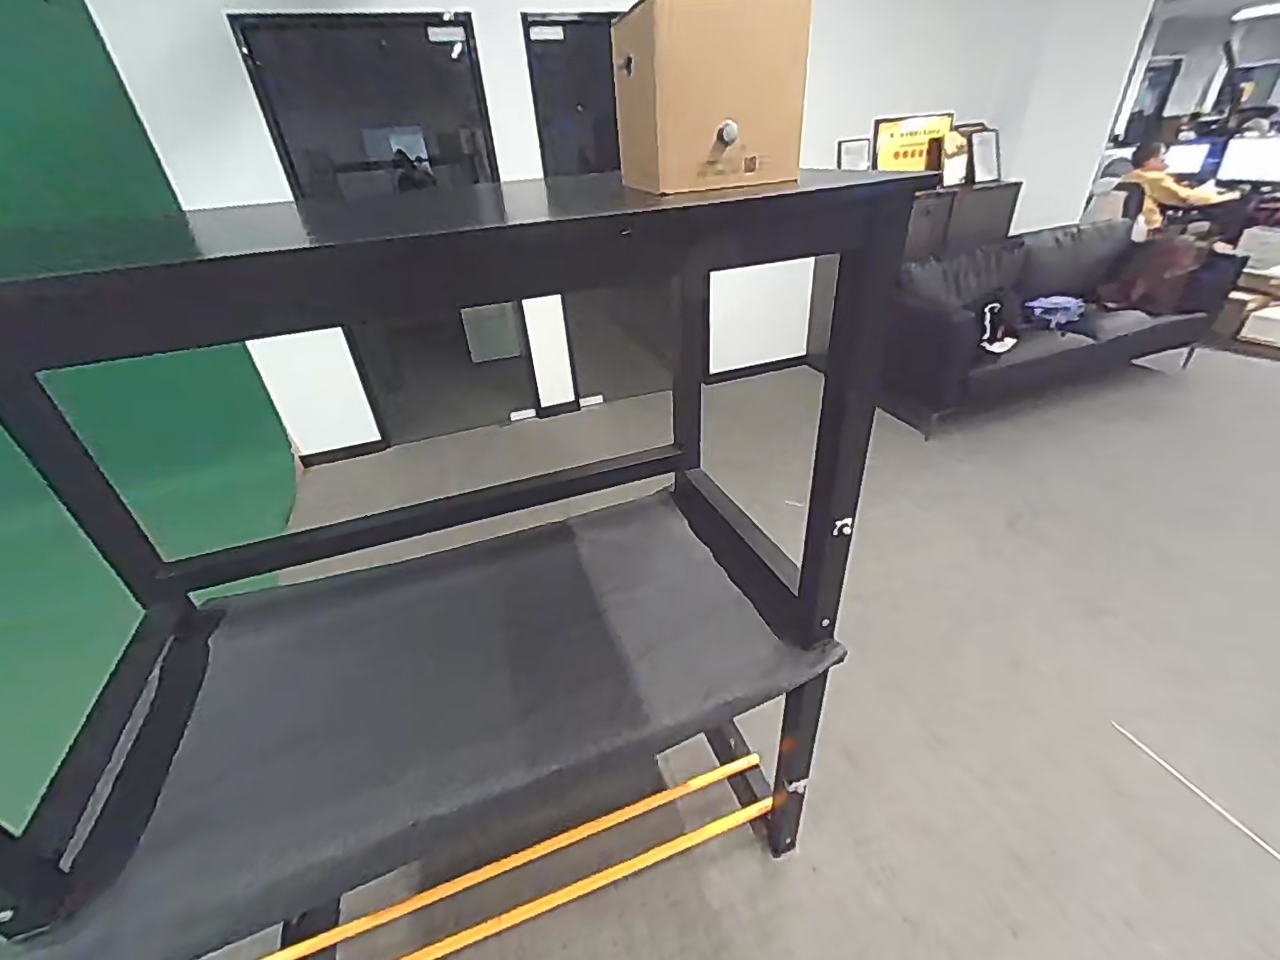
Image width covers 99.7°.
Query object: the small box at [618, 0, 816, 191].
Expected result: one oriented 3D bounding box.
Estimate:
[{"bbox_3d":[0.076,-0.431,0.613,0.168,0.176,0.179,-11,34,-10],"label":"small box"}]
